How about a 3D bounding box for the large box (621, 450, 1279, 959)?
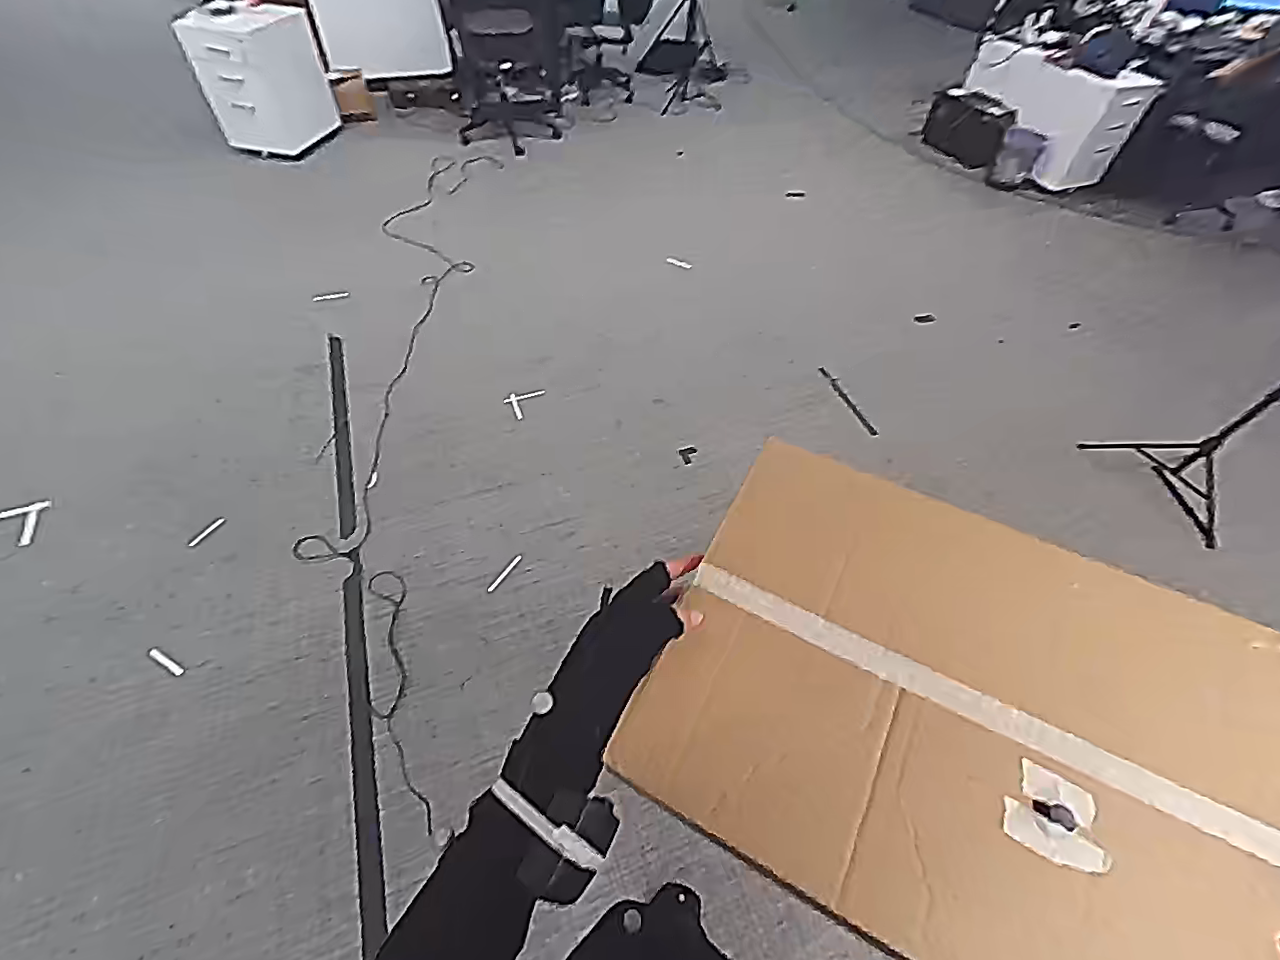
[{"bbox_3d":[0.235,0.236,0.522,0.408,0.320,0.320,24,64,17],"label":"large box"}]
